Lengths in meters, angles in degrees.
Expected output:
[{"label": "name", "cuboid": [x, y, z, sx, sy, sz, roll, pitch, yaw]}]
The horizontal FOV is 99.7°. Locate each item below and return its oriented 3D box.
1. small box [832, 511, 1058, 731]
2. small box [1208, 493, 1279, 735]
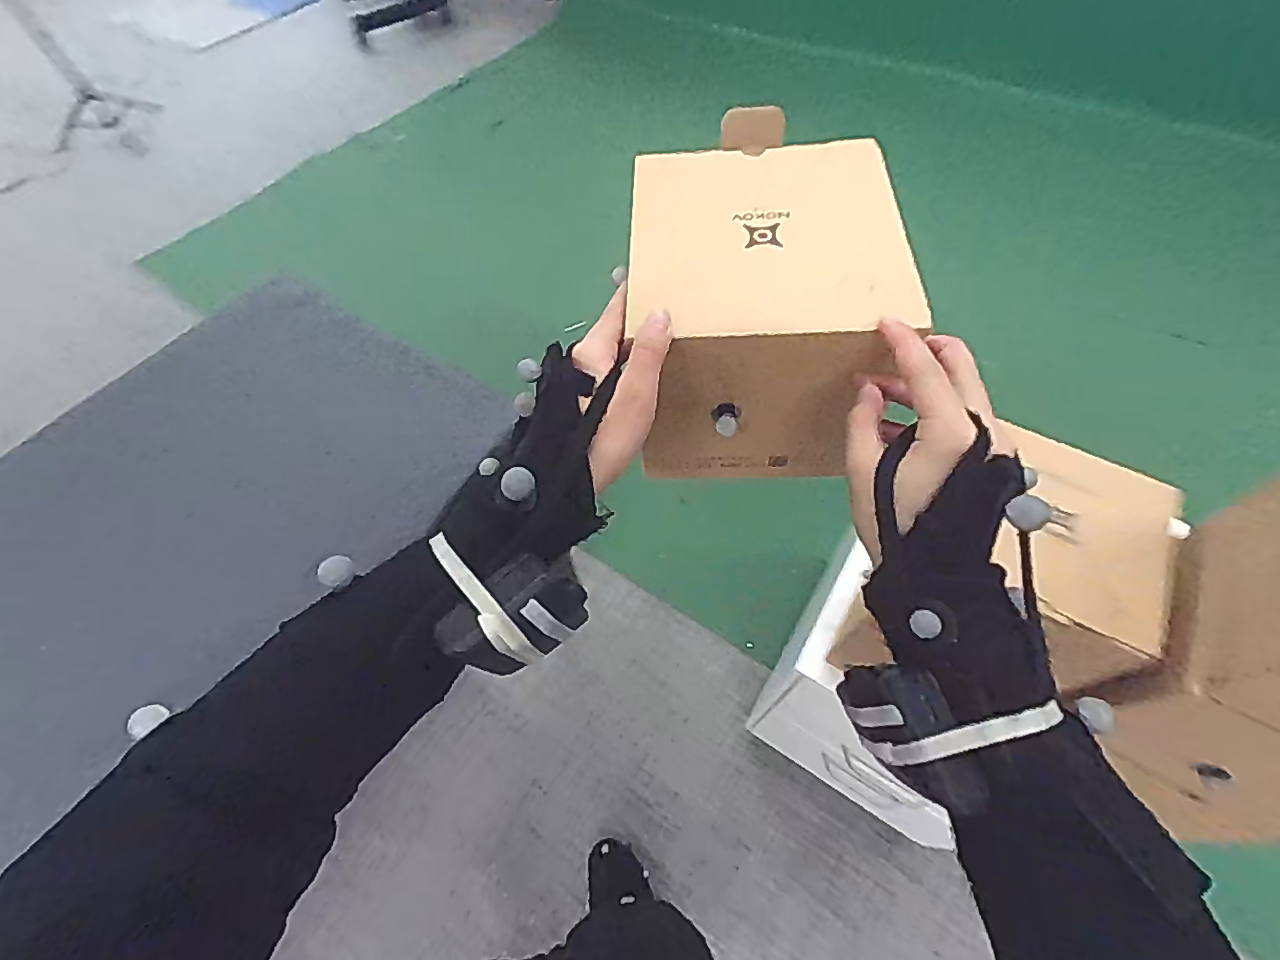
[{"label": "small box", "cuboid": [0.355, 0.177, 0.660, 0.168, 0.176, 0.179, 30, 62, 18]}, {"label": "small box", "cuboid": [0.506, 0.083, 0.324, 0.168, 0.176, 0.179, 28, 62, 19]}]
